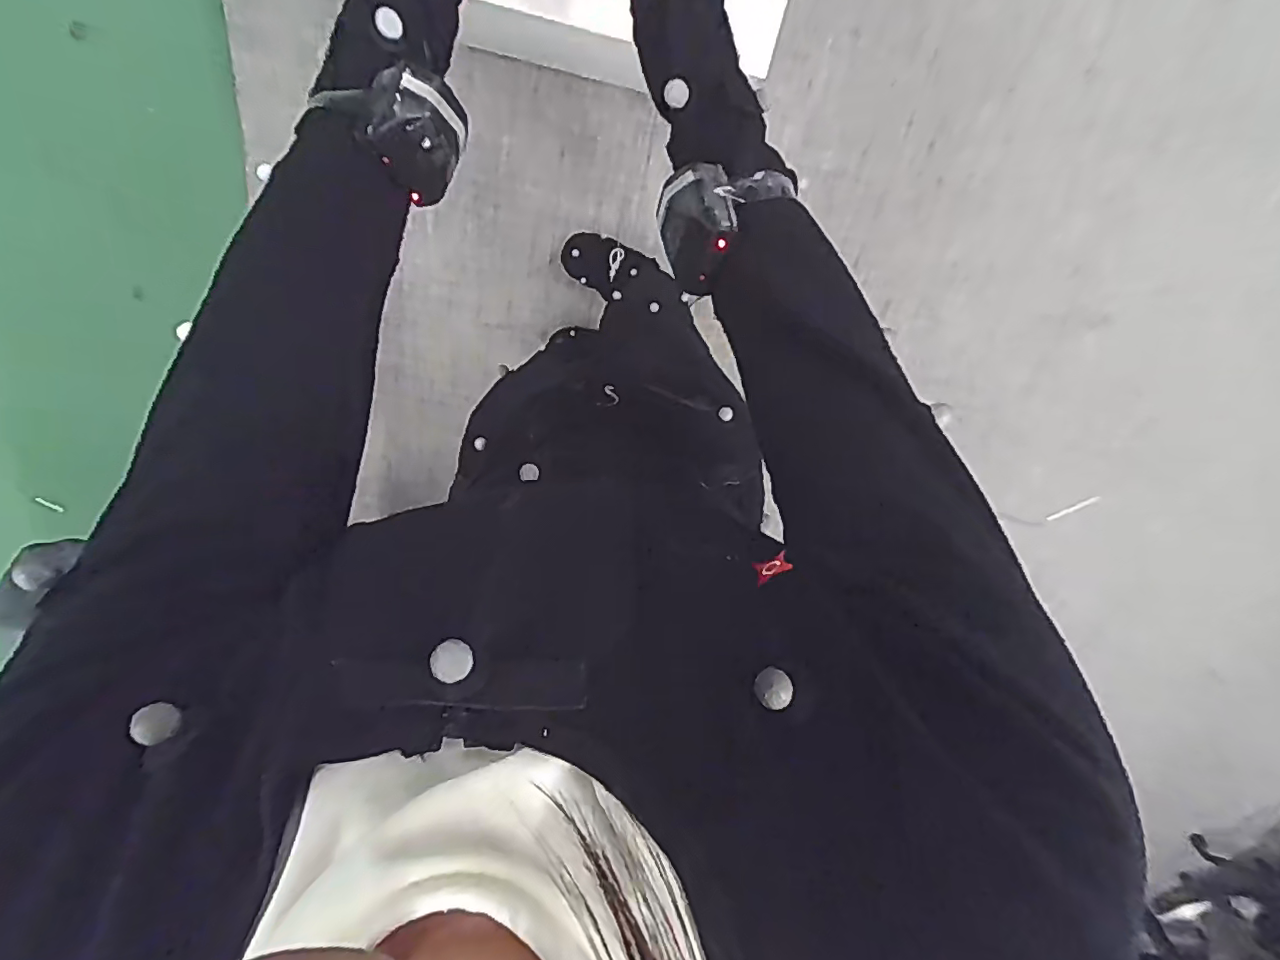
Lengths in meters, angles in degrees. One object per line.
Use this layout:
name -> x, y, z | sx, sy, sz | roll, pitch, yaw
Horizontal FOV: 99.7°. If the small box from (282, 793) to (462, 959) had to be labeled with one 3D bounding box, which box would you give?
small box -> -0.355, 0.573, 0.754 | 0.168, 0.176, 0.179 | 11, 123, -4
